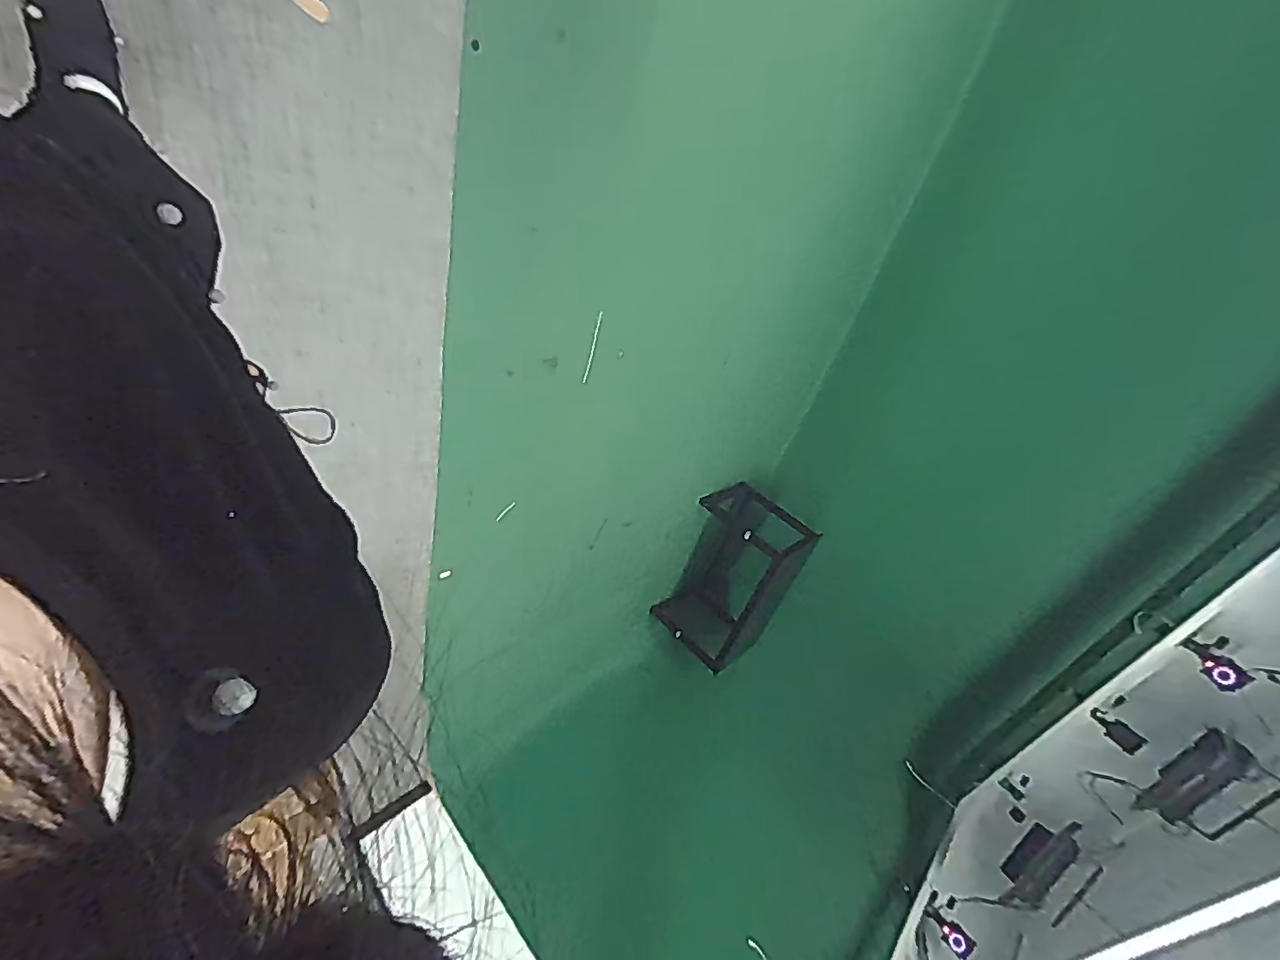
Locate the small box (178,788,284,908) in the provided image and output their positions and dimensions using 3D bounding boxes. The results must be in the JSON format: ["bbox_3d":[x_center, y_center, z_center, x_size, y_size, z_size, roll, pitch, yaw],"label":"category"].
[{"bbox_3d":[-1.049,0.934,1.389,0.168,0.176,0.179,-23,141,-42],"label":"small box"}]

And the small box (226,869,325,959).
[{"bbox_3d":[-0.979,1.199,1.452,0.168,0.176,0.179,-23,138,-41],"label":"small box"}]

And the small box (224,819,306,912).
[{"bbox_3d":[-1.088,1.113,1.539,0.168,0.176,0.179,-26,140,-39],"label":"small box"}]
